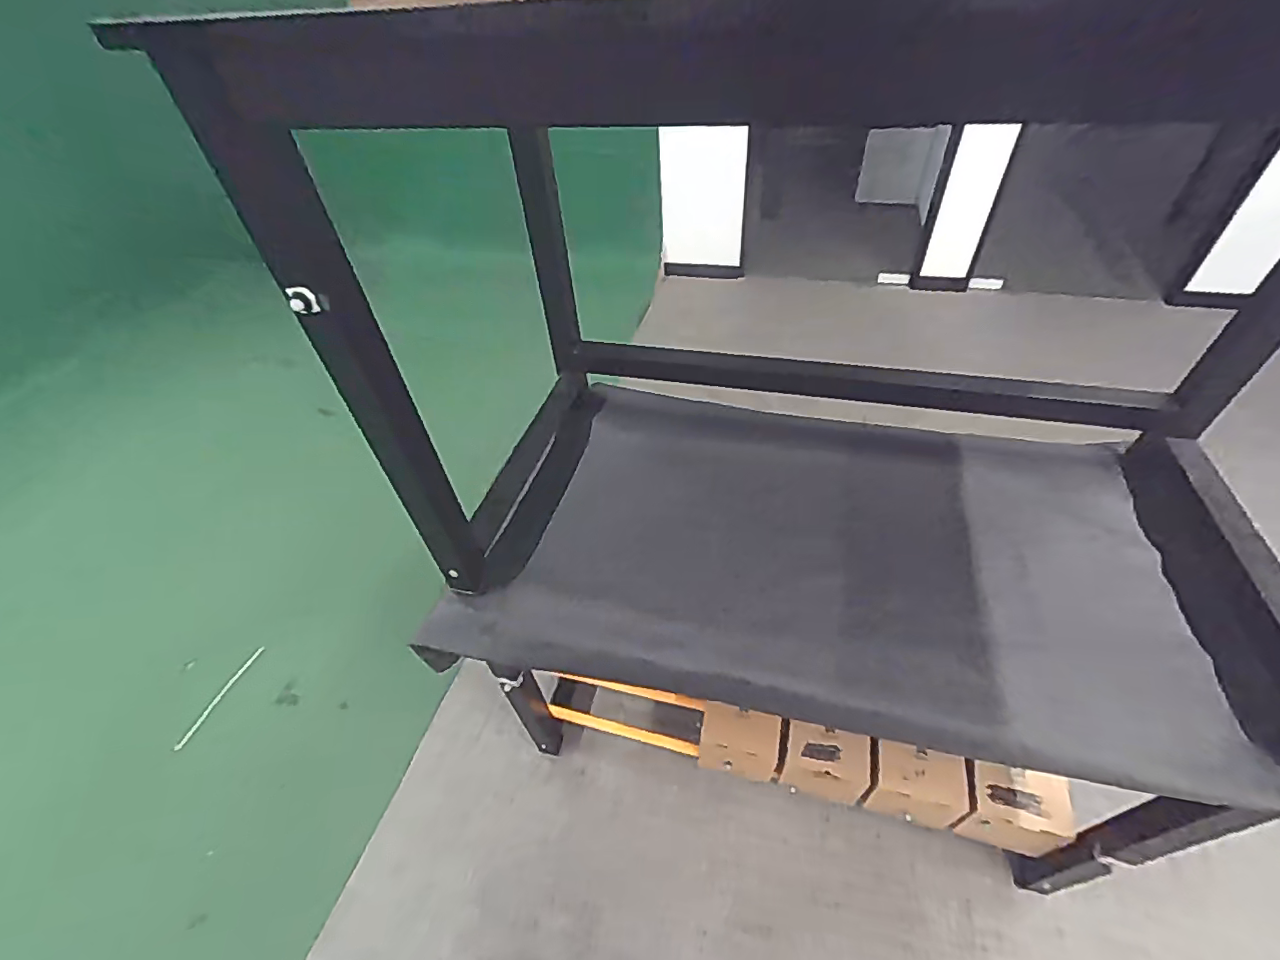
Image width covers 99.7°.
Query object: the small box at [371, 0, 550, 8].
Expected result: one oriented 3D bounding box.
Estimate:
[{"bbox_3d":[-0.127,-0.473,0.405,0.168,0.176,0.179,5,46,12],"label":"small box"}]
